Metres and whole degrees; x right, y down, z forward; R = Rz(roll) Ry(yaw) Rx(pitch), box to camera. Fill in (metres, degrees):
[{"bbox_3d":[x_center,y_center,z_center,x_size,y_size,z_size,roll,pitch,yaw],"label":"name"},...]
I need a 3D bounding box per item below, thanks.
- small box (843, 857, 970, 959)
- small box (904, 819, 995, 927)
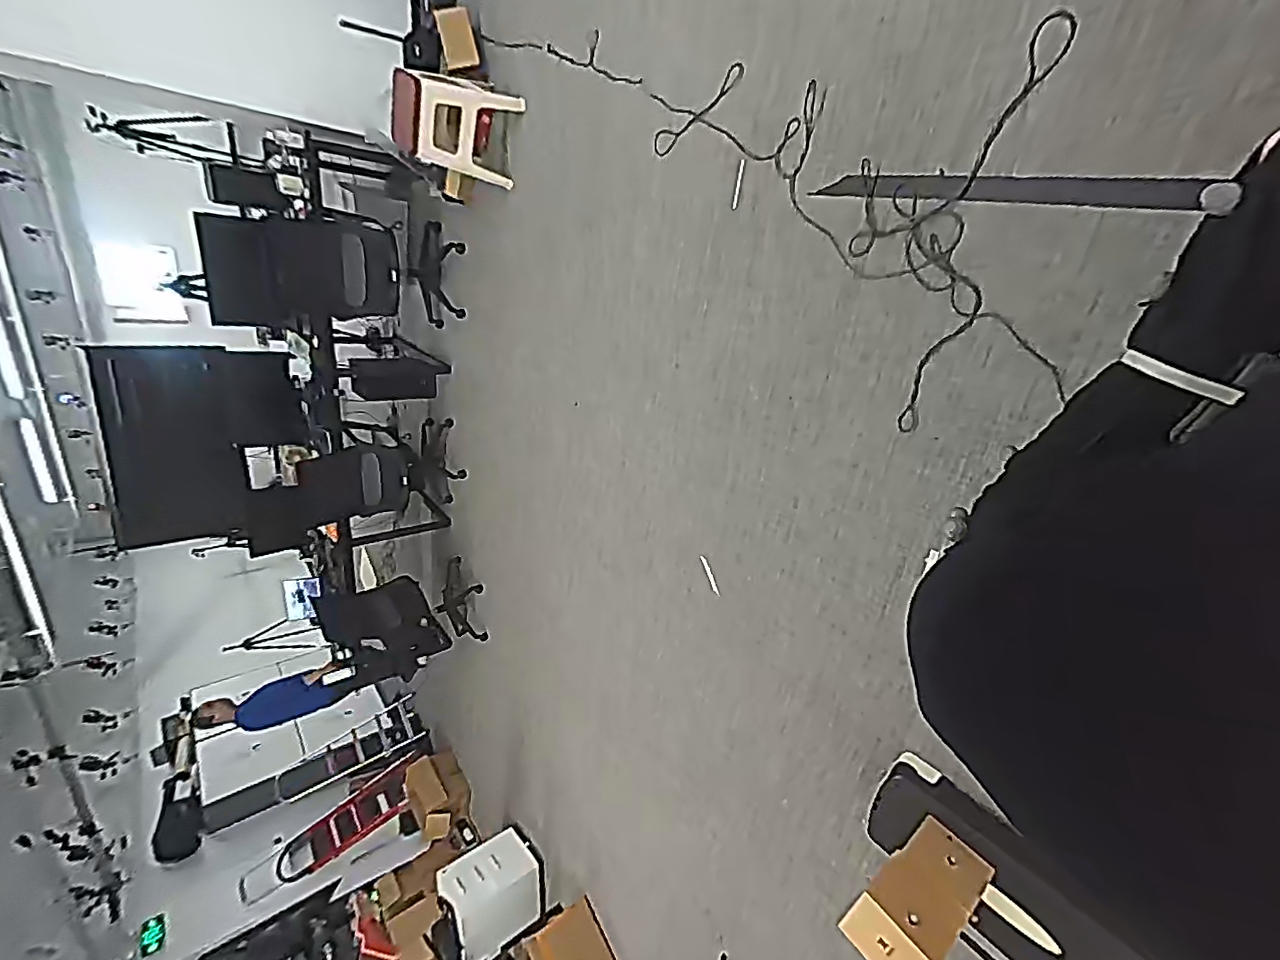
[{"bbox_3d":[0.611,1.015,1.243,0.179,0.176,0.168,37,126,38],"label":"small box"},{"bbox_3d":[0.742,0.993,1.338,0.168,0.176,0.179,35,125,41],"label":"small box"}]
